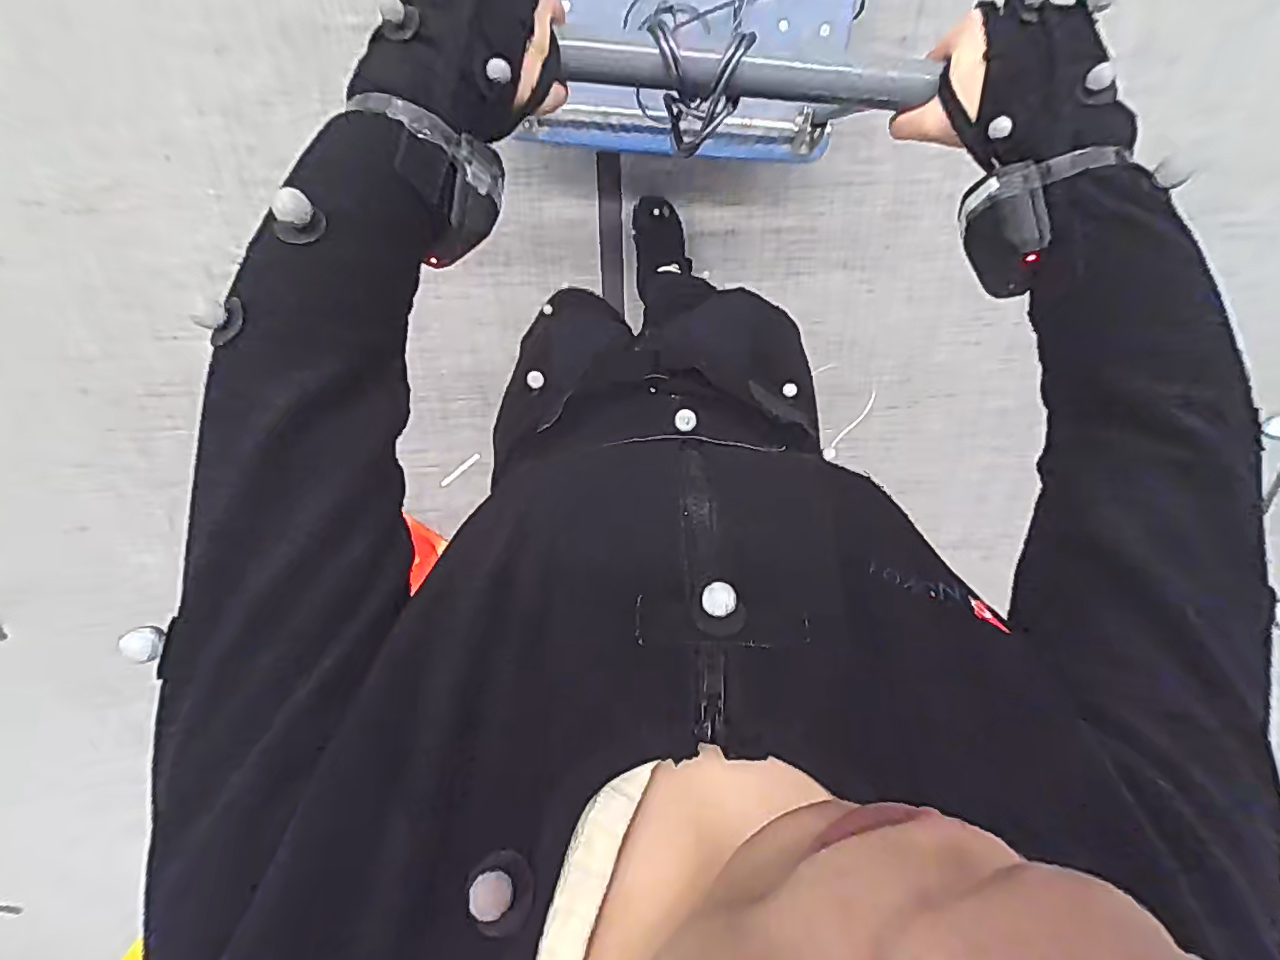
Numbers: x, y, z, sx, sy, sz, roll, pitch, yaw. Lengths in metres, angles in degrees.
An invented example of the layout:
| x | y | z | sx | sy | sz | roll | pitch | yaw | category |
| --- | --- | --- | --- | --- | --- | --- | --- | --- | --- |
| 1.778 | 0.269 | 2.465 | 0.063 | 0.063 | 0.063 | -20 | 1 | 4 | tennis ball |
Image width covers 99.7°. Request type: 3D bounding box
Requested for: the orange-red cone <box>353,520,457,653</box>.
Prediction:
| x | y | z | sx | sy | sz | roll | pitch | yaw | category |
| --- | --- | --- | --- | --- | --- | --- | --- | --- | --- |
| -0.629 | 0.292 | 1.354 | 0.198 | 0.360 | 0.199 | 40 | 107 | -20 | orange-red cone |
